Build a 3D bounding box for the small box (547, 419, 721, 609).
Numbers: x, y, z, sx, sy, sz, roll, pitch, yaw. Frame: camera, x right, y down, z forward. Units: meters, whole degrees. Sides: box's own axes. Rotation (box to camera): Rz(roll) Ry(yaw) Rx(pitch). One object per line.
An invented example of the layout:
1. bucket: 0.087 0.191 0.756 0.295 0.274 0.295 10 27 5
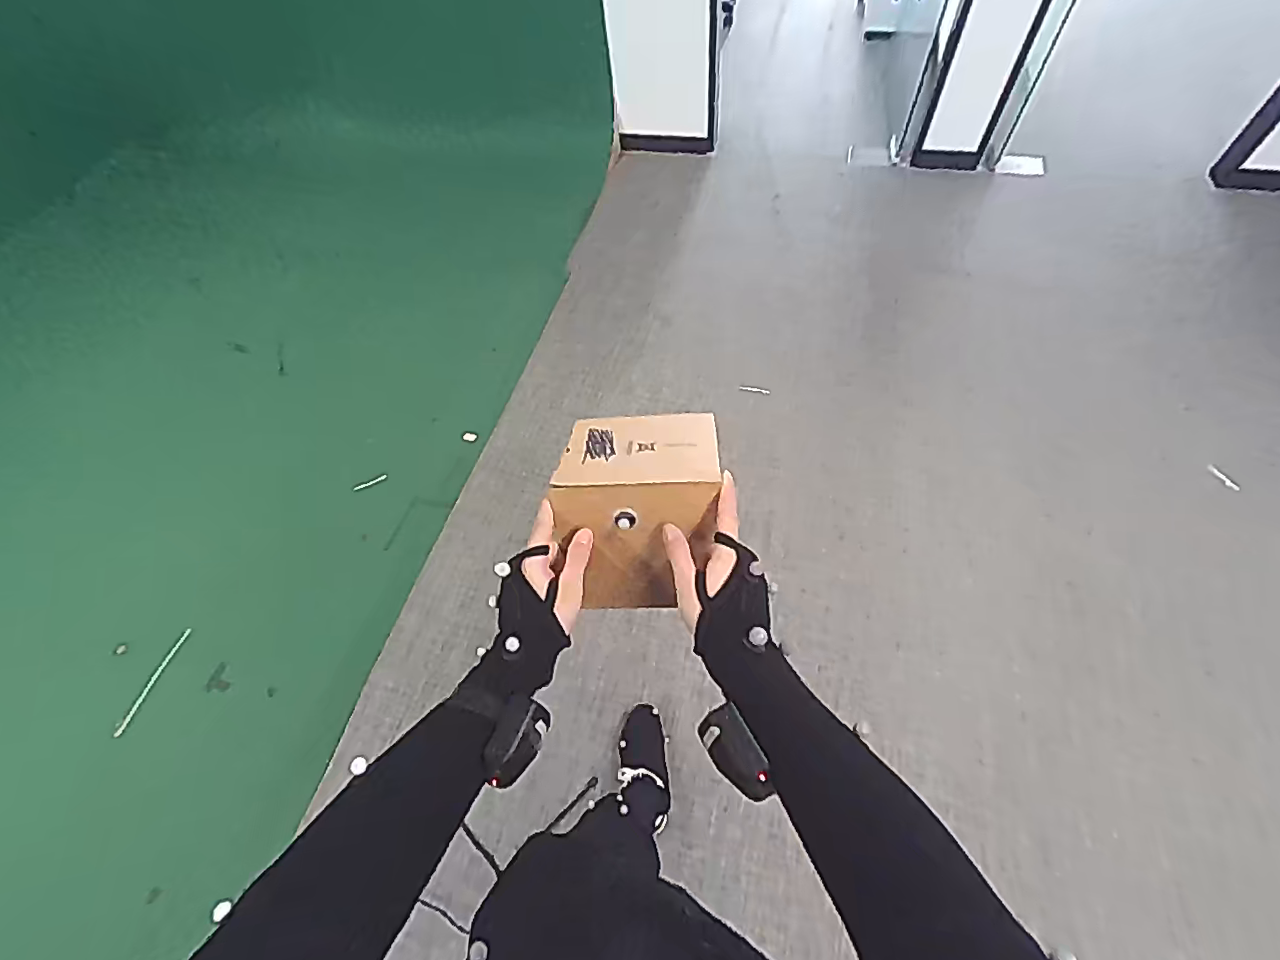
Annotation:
1. small box: 0.003 0.039 0.645 0.179 0.176 0.168 -2 29 5
